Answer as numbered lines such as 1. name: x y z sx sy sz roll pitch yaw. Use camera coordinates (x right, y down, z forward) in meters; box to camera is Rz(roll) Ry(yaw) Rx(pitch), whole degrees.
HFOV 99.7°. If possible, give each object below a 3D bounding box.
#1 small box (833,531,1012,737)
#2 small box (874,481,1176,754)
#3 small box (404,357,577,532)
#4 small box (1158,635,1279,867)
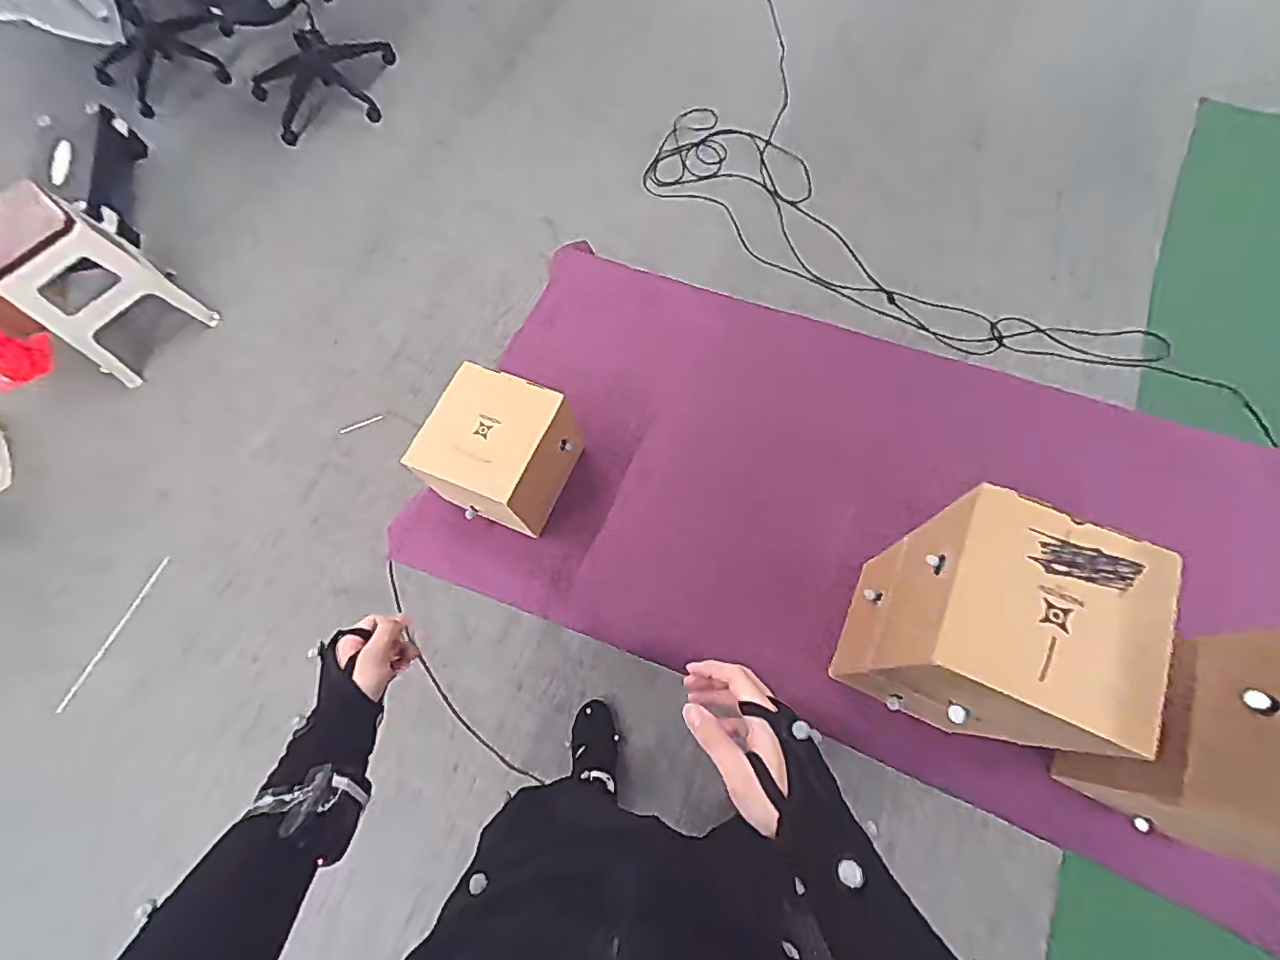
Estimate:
1. small box: 0.358 0.194 0.675 0.168 0.176 0.179 23 71 13
2. small box: 0.350 0.133 0.522 0.168 0.176 0.179 23 71 13
3. small box: -0.206 -0.046 0.807 0.168 0.176 0.179 21 72 12
4. small box: 0.600 0.242 0.457 0.168 0.176 0.179 25 72 14
